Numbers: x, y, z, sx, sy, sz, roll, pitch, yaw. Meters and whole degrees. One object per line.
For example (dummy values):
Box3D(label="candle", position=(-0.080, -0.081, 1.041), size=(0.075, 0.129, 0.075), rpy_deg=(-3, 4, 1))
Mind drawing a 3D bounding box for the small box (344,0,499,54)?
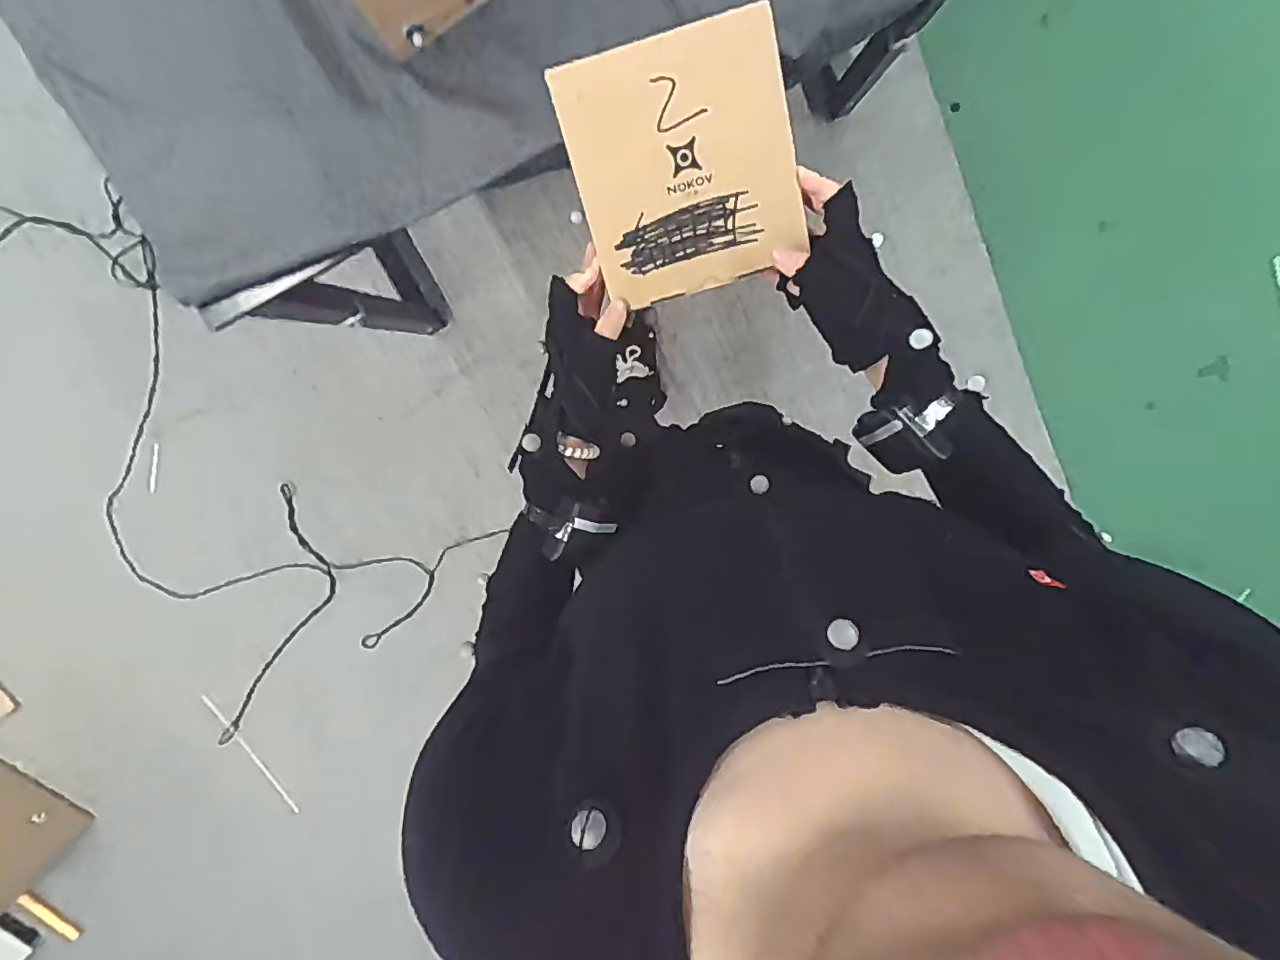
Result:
Box3D(label="small box", position=(-0.250, -0.569, 0.527), size=(0.168, 0.176, 0.179), rpy_deg=(-31, 100, 6))
